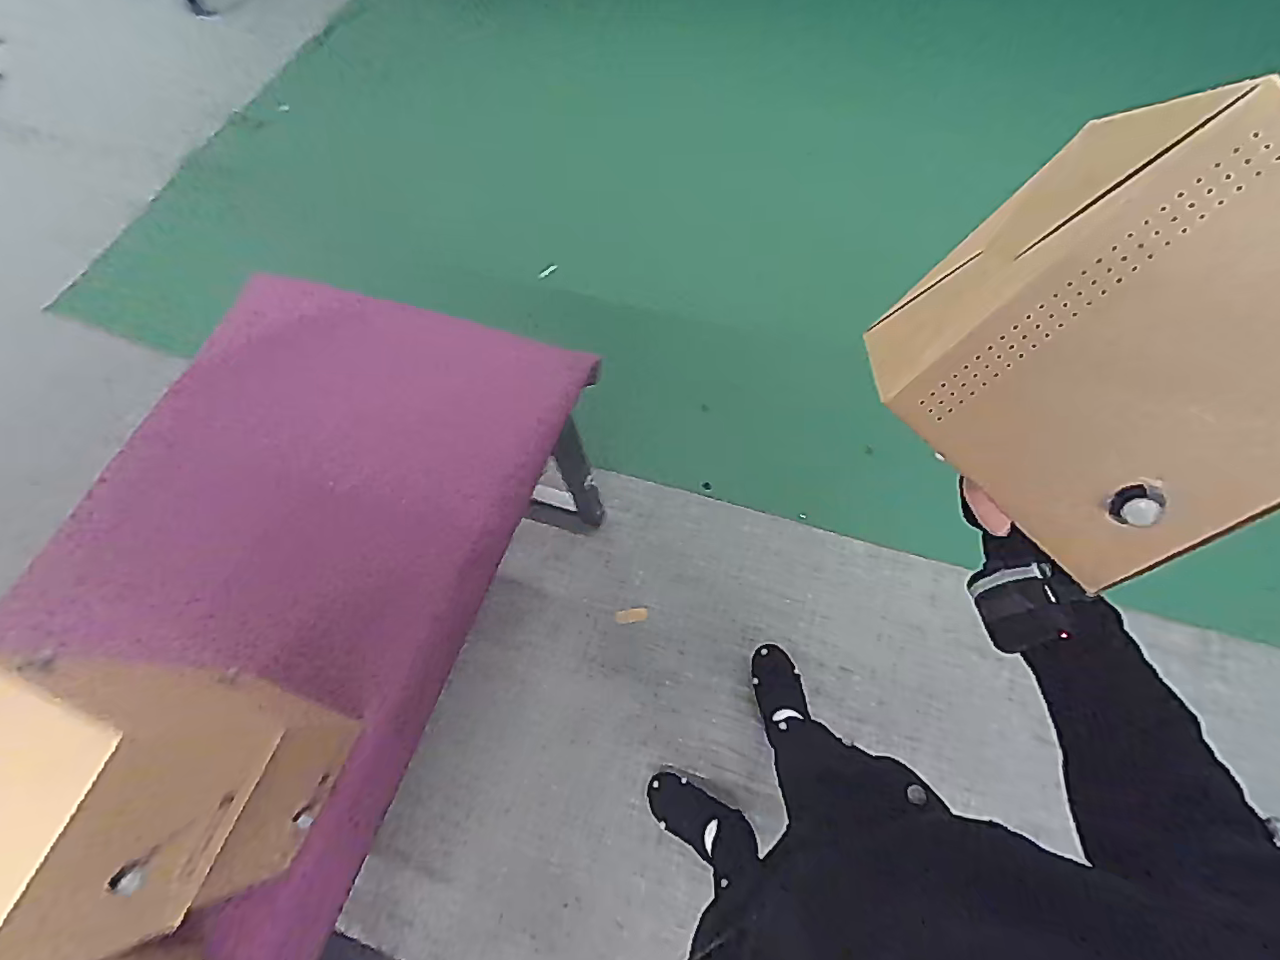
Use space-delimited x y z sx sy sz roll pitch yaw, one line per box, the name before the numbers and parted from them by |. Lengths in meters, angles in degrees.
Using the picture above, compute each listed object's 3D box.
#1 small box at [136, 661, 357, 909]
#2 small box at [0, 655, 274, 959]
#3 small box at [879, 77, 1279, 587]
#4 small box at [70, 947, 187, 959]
small box | -0.456 0.313 0.581 0.179 0.176 0.168 17 69 12
small box | -0.451 0.249 0.430 0.179 0.176 0.168 16 69 13
small box | 0.269 -0.079 0.317 0.176 0.179 0.168 41 31 -5
small box | -0.551 0.555 0.474 0.168 0.176 0.179 -7 65 1
